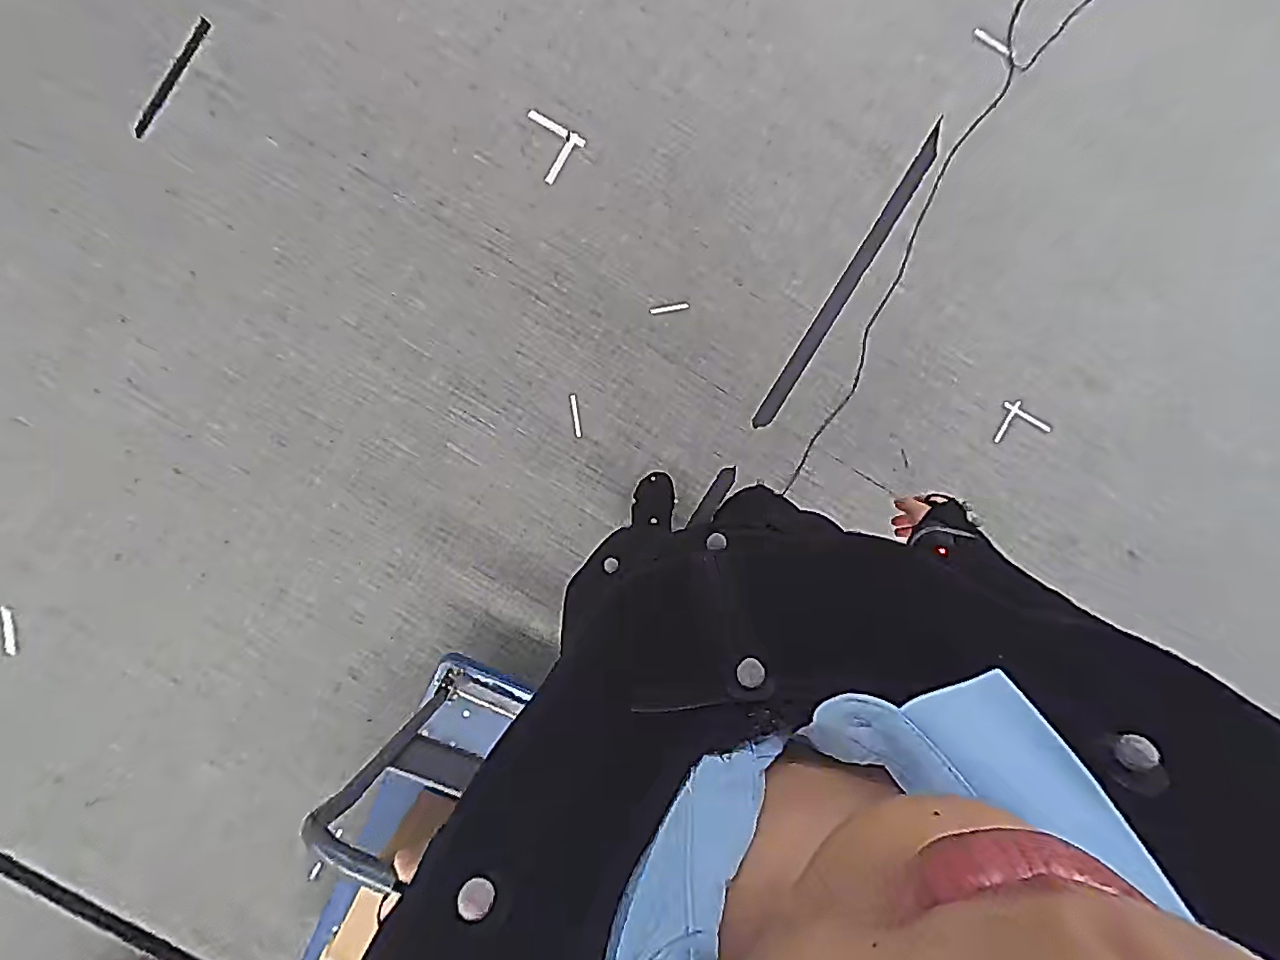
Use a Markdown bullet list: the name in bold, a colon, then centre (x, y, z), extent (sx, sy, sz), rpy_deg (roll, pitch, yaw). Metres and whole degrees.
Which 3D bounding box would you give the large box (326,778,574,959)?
- **large box**: centre (-0.391, 0.925, 1.154), extent (0.408, 0.320, 0.320), rpy_deg (26, 88, -3)
